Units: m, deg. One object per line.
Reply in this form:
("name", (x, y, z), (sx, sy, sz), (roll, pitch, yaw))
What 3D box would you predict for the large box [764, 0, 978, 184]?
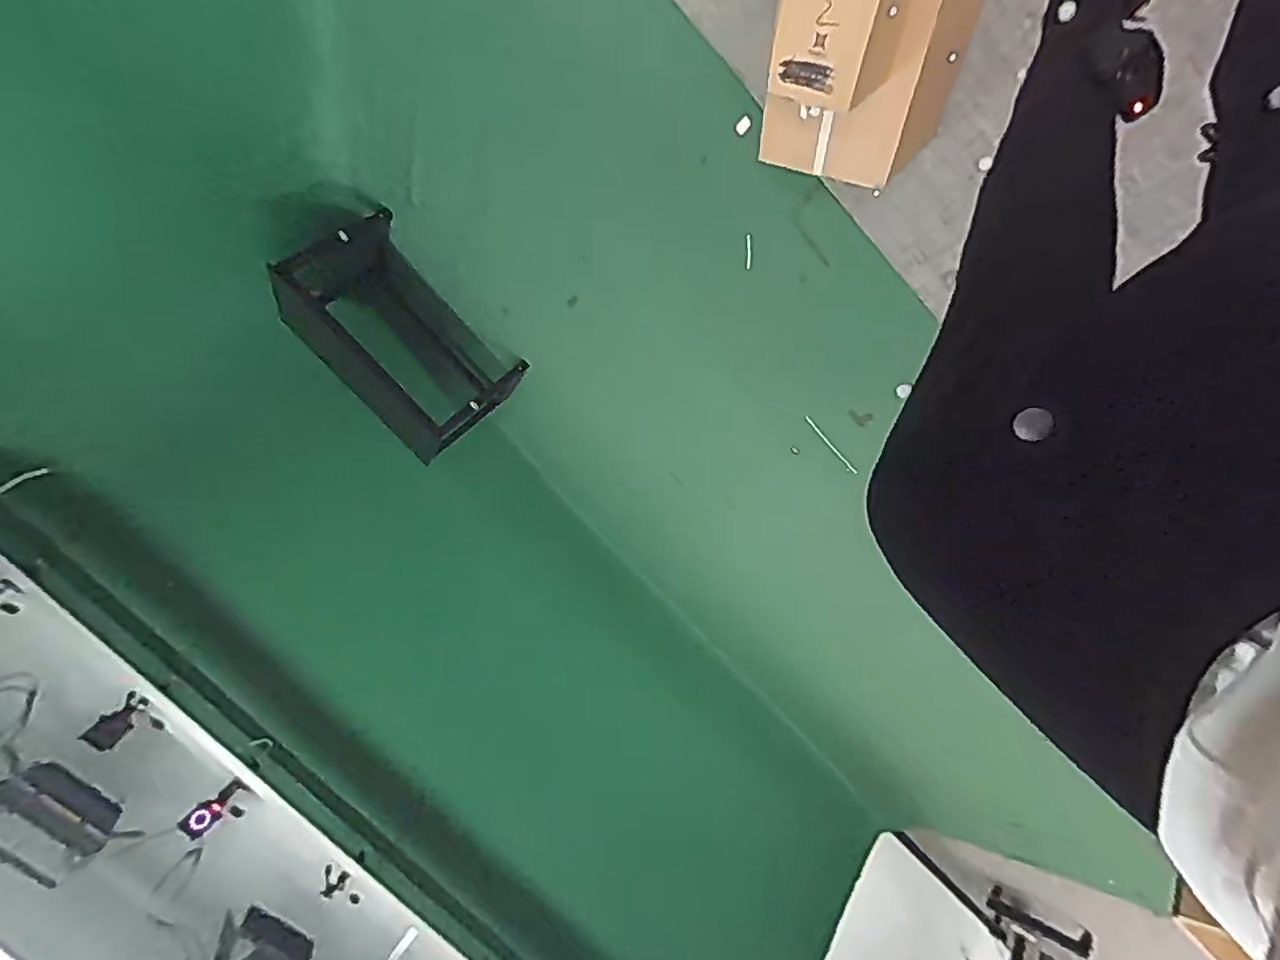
("large box", (0.492, -0.926, 1.142), (0.320, 0.320, 0.408), (30, 151, 24))
